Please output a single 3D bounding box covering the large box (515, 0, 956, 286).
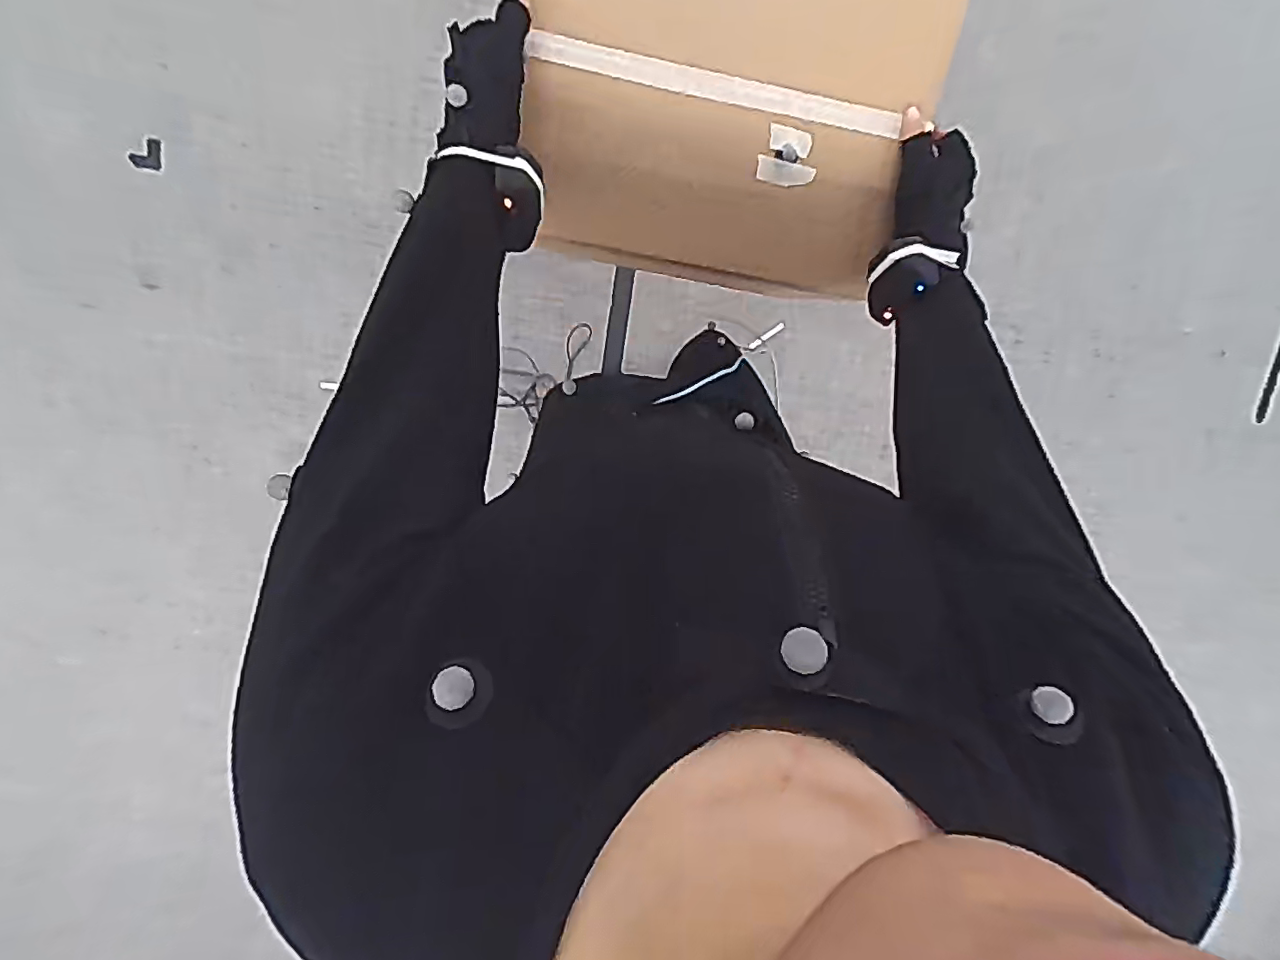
[{"bbox_3d":[0.077,-0.432,0.666,0.408,0.320,0.320,8,110,-7],"label":"large box"}]
